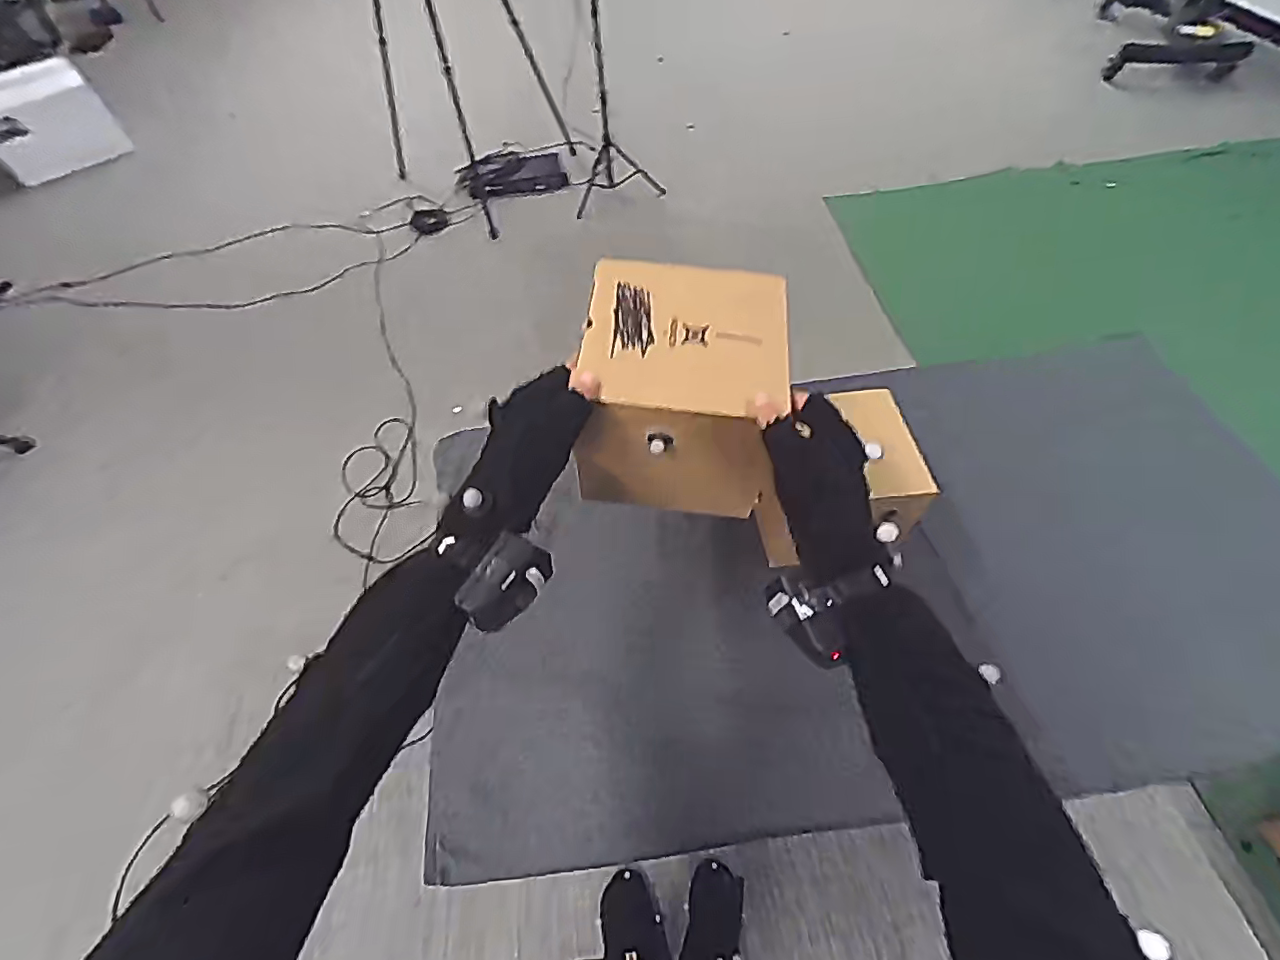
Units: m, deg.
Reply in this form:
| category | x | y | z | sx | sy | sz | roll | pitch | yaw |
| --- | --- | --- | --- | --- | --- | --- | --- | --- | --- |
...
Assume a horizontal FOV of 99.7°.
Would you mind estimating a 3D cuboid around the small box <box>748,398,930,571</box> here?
| category | x | y | z | sx | sy | sz | roll | pitch | yaw |
| --- | --- | --- | --- | --- | --- | --- | --- | --- | --- |
| small box | 0.249 | 0.011 | 0.738 | 0.179 | 0.176 | 0.168 | -7 | 56 | -1 |

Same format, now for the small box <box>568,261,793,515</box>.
| category | x | y | z | sx | sy | sz | roll | pitch | yaw |
| --- | --- | --- | --- | --- | --- | --- | --- | --- | --- |
| small box | 0.037 | -0.080 | 0.519 | 0.179 | 0.176 | 0.168 | 7 | 60 | 1 |
